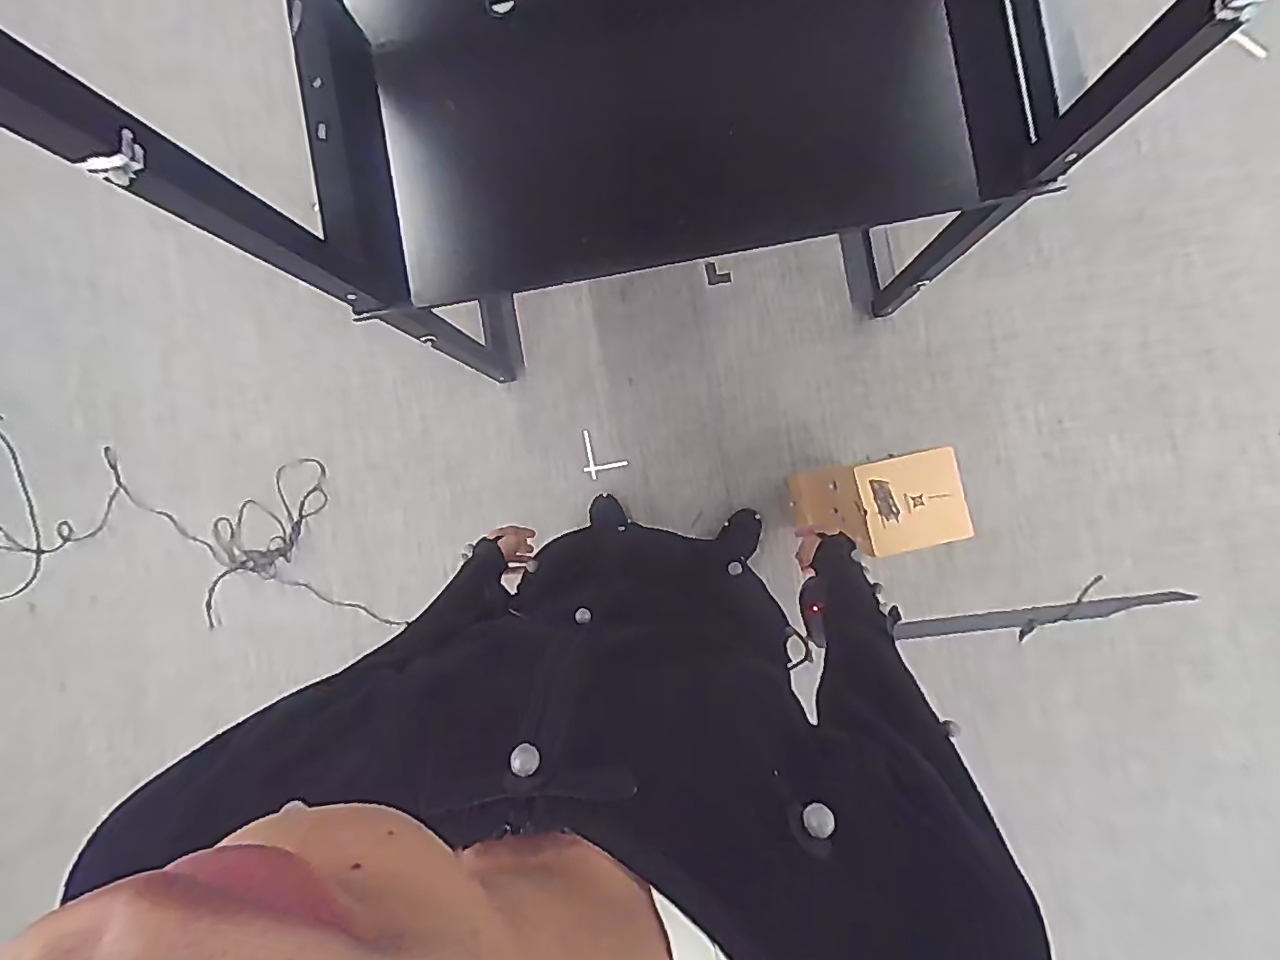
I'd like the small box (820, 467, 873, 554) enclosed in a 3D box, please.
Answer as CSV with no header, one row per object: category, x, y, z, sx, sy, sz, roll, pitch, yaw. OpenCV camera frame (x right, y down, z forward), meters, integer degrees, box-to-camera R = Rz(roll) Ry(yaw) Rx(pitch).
small box,0.507,0.050,1.181,0.168,0.176,0.179,-12,89,5

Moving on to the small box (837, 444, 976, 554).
small box,0.485,0.035,1.017,0.179,0.176,0.168,-13,89,5

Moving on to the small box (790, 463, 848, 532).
small box,0.532,0.044,1.507,0.179,0.176,0.168,-11,89,6
